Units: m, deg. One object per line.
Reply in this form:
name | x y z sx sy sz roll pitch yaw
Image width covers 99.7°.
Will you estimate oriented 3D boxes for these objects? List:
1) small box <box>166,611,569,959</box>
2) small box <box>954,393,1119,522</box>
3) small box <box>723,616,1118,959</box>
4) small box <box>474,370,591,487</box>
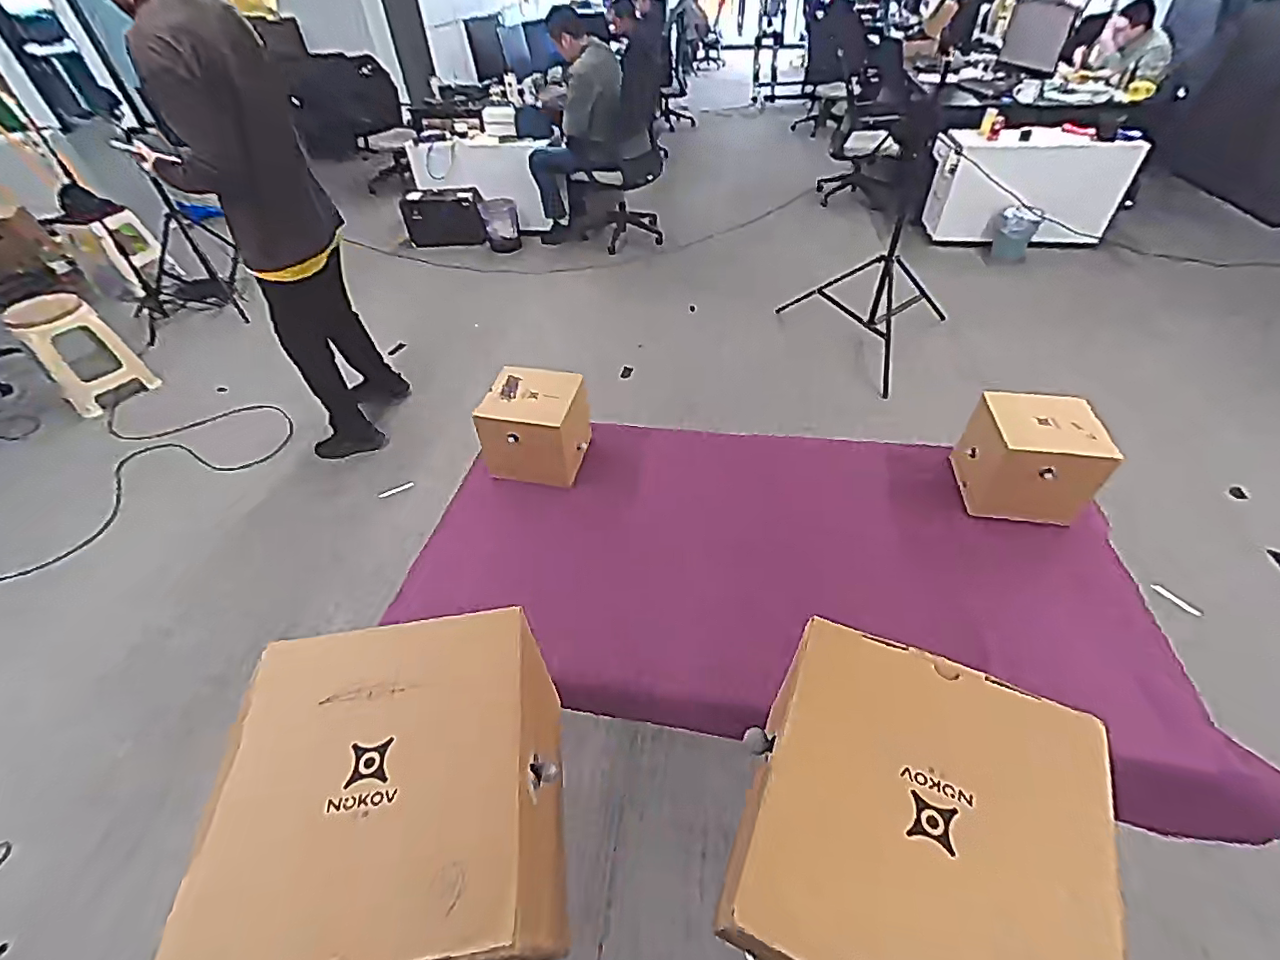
small box | -0.142 0.214 0.355 0.168 0.176 0.179 -8 47 -5
small box | 0.705 -0.040 0.993 0.179 0.176 0.168 6 46 8
small box | 0.156 0.225 0.344 0.168 0.176 0.179 17 51 17
small box | -0.209 -0.104 1.108 0.179 0.176 0.168 8 47 9
